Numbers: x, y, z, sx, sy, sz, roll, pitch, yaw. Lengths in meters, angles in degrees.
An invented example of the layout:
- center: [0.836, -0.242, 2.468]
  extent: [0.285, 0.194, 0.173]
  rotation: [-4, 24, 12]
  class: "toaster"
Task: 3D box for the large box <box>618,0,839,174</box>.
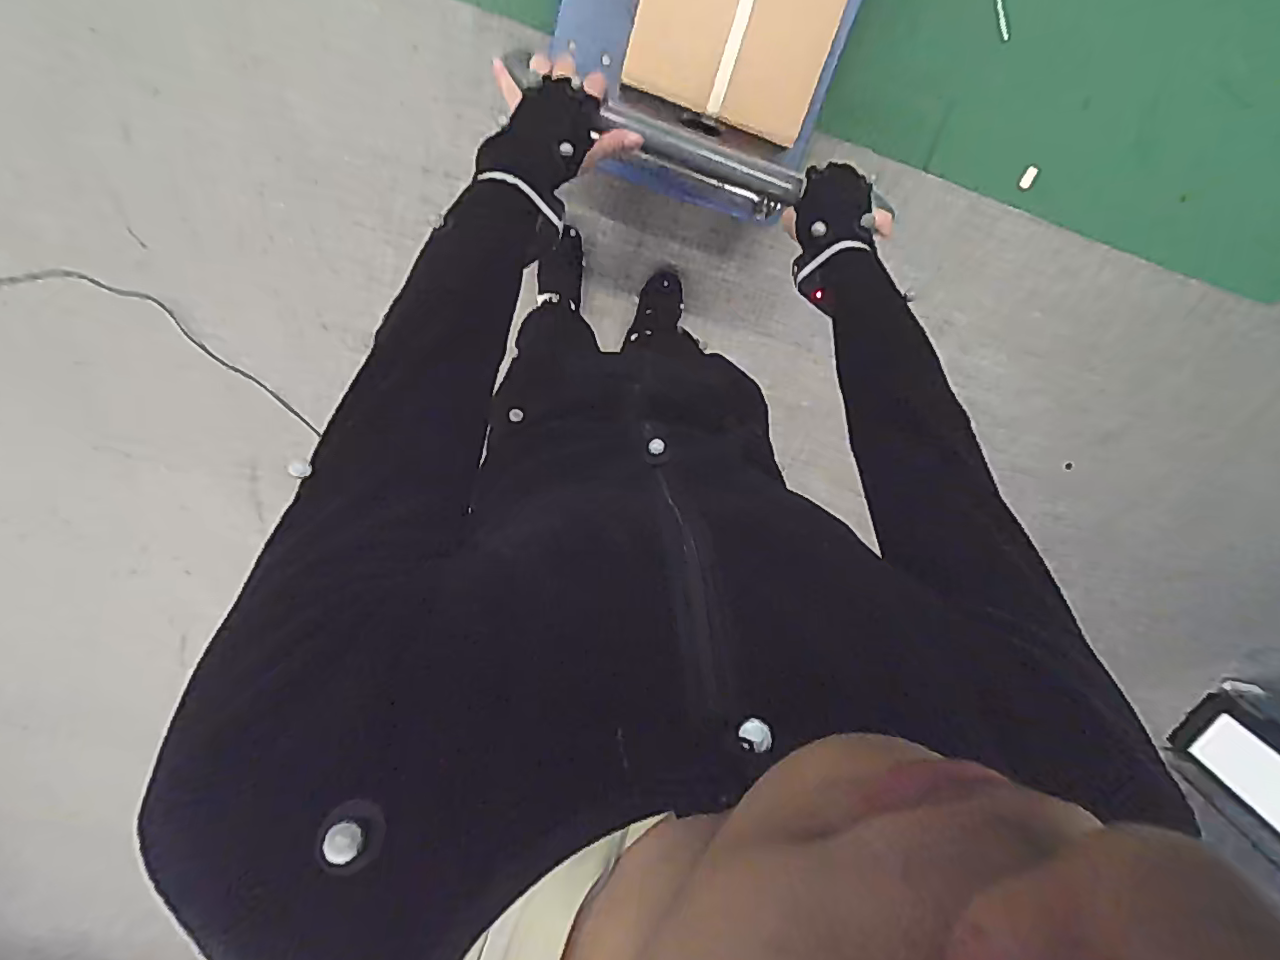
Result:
- center: [0.155, -0.835, 0.979]
  extent: [0.320, 0.320, 0.408]
  rotation: [14, 111, -11]
  class: "large box"
